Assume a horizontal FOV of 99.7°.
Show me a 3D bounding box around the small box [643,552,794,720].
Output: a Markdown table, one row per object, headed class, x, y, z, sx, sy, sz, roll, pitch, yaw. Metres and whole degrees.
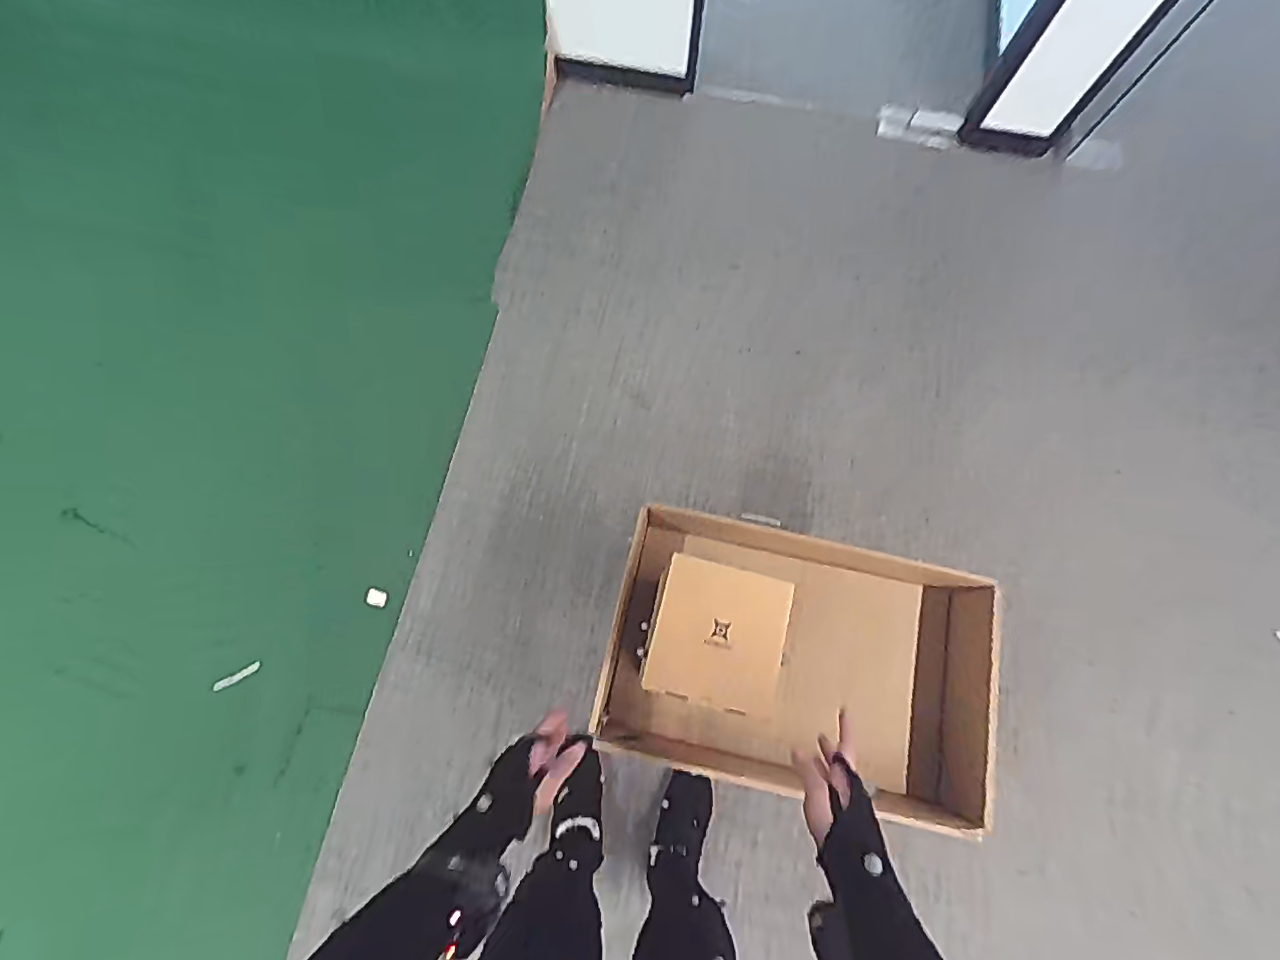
| class | x | y | z | sx | sy | sz | roll | pitch | yaw |
| --- | --- | --- | --- | --- | --- | --- | --- | --- | --- |
| small box | 0.101 | 0.217 | 0.764 | 0.168 | 0.176 | 0.179 | 14 | 74 | 3 |
